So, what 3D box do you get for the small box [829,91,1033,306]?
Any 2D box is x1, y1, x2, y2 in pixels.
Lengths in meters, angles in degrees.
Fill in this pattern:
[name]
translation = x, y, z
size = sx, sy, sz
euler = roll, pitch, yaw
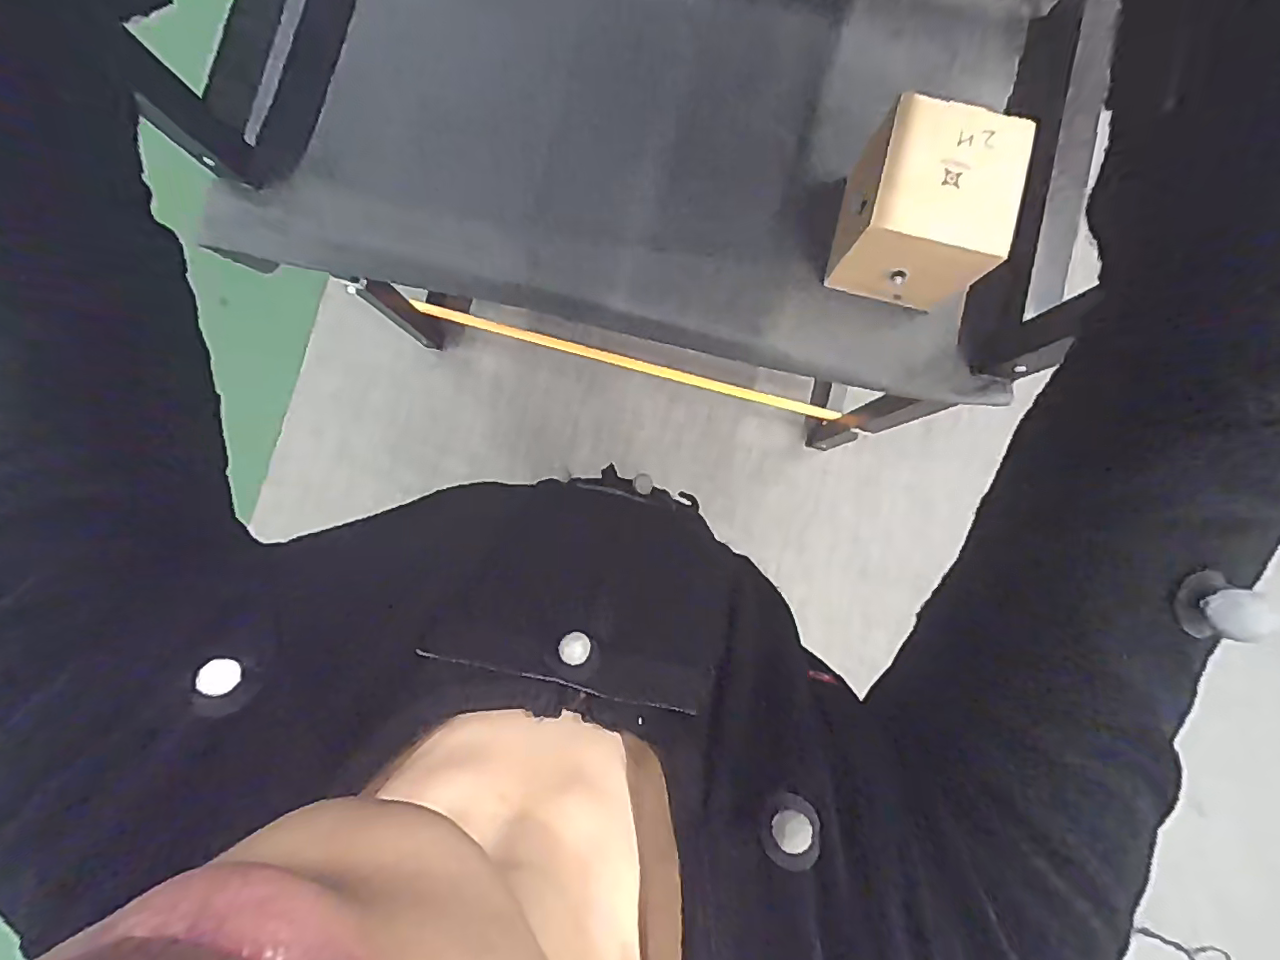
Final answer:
[small box]
translation = 0.368, -0.357, 0.718
size = 0.168, 0.176, 0.179
euler = 15, 85, 1
